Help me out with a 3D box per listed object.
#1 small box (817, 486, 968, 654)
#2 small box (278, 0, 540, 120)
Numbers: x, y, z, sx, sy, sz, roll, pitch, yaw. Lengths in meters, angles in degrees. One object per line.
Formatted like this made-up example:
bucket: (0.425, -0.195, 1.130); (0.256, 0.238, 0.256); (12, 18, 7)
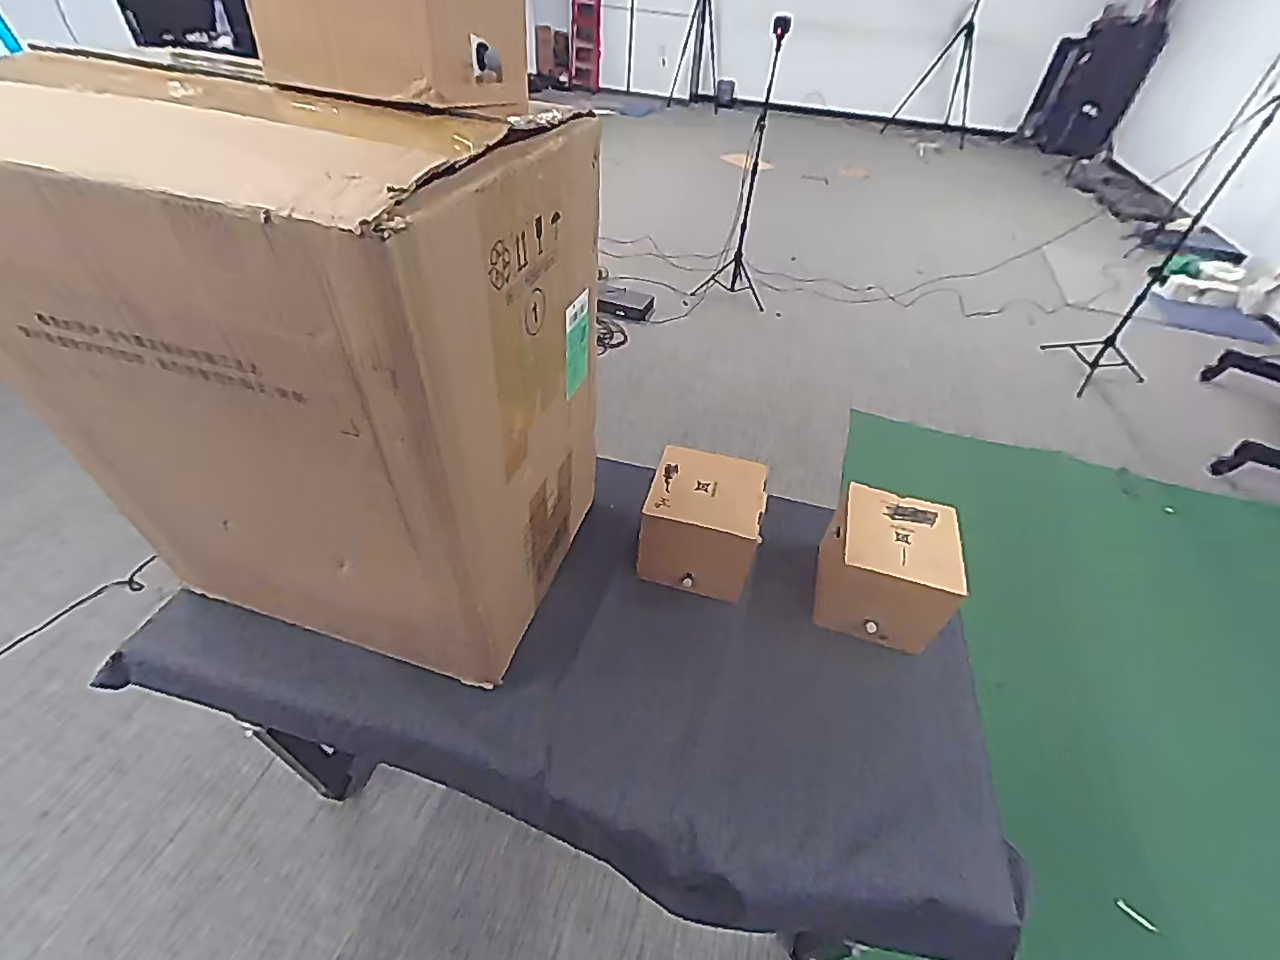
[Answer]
small box: (0.391, 0.143, 0.865); (0.168, 0.176, 0.179); (15, 45, 11)
small box: (-0.202, -0.434, 0.484); (0.179, 0.176, 0.168); (16, 40, 9)
